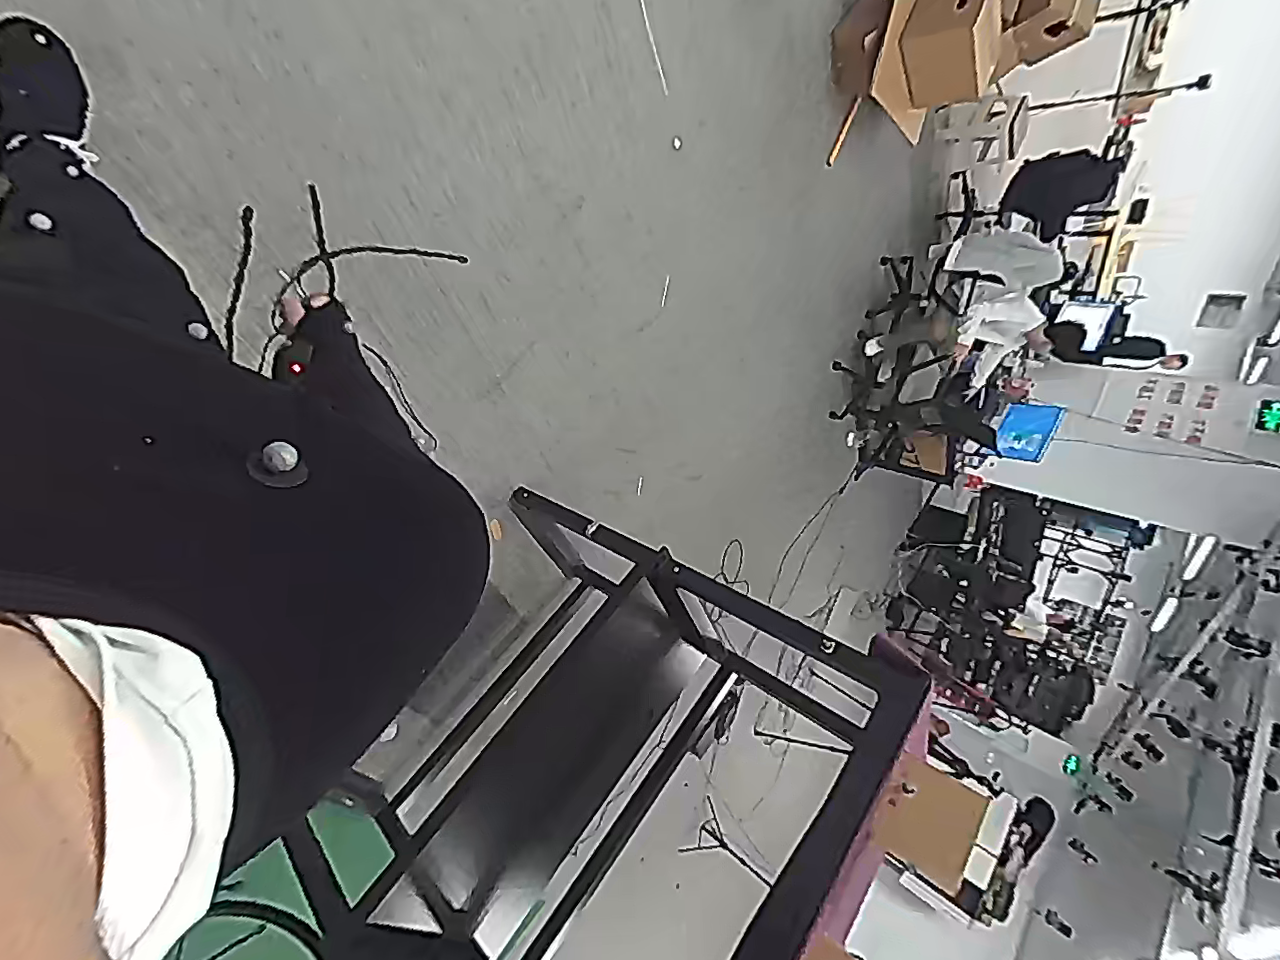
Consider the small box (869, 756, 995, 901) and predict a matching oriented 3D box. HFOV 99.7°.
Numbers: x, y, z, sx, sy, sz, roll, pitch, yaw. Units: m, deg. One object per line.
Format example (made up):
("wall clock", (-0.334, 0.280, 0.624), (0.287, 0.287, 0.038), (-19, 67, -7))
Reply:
("small box", (0.573, 0.685, 1.074), (0.168, 0.176, 0.179), (-50, 137, -22))
